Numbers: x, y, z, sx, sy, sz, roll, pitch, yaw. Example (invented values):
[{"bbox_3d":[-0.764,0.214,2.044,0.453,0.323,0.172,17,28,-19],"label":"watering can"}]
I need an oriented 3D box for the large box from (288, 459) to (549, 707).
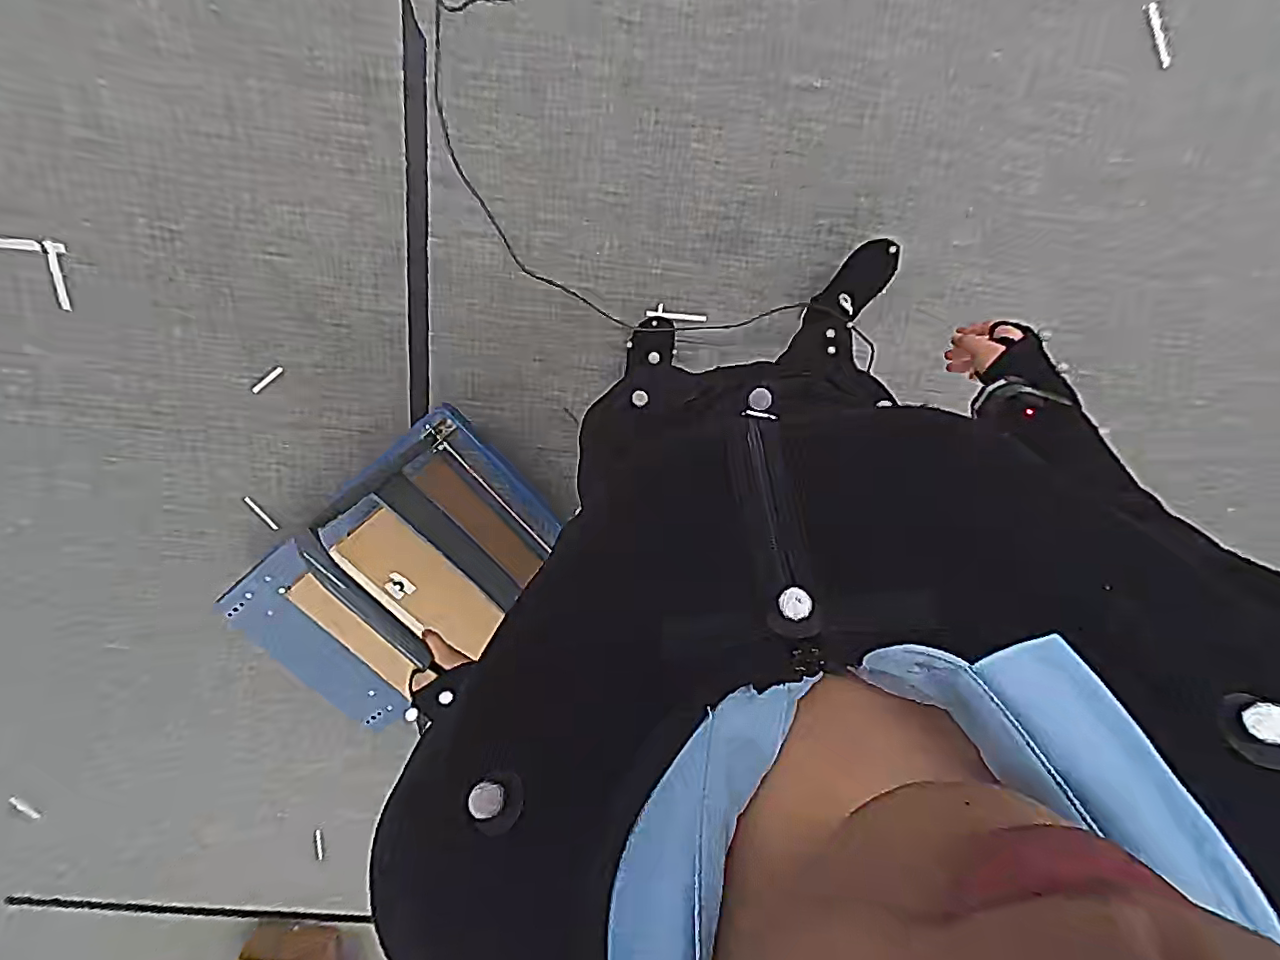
[{"bbox_3d":[-0.475,0.227,1.257,0.320,0.320,0.408,-38,106,11],"label":"large box"}]
